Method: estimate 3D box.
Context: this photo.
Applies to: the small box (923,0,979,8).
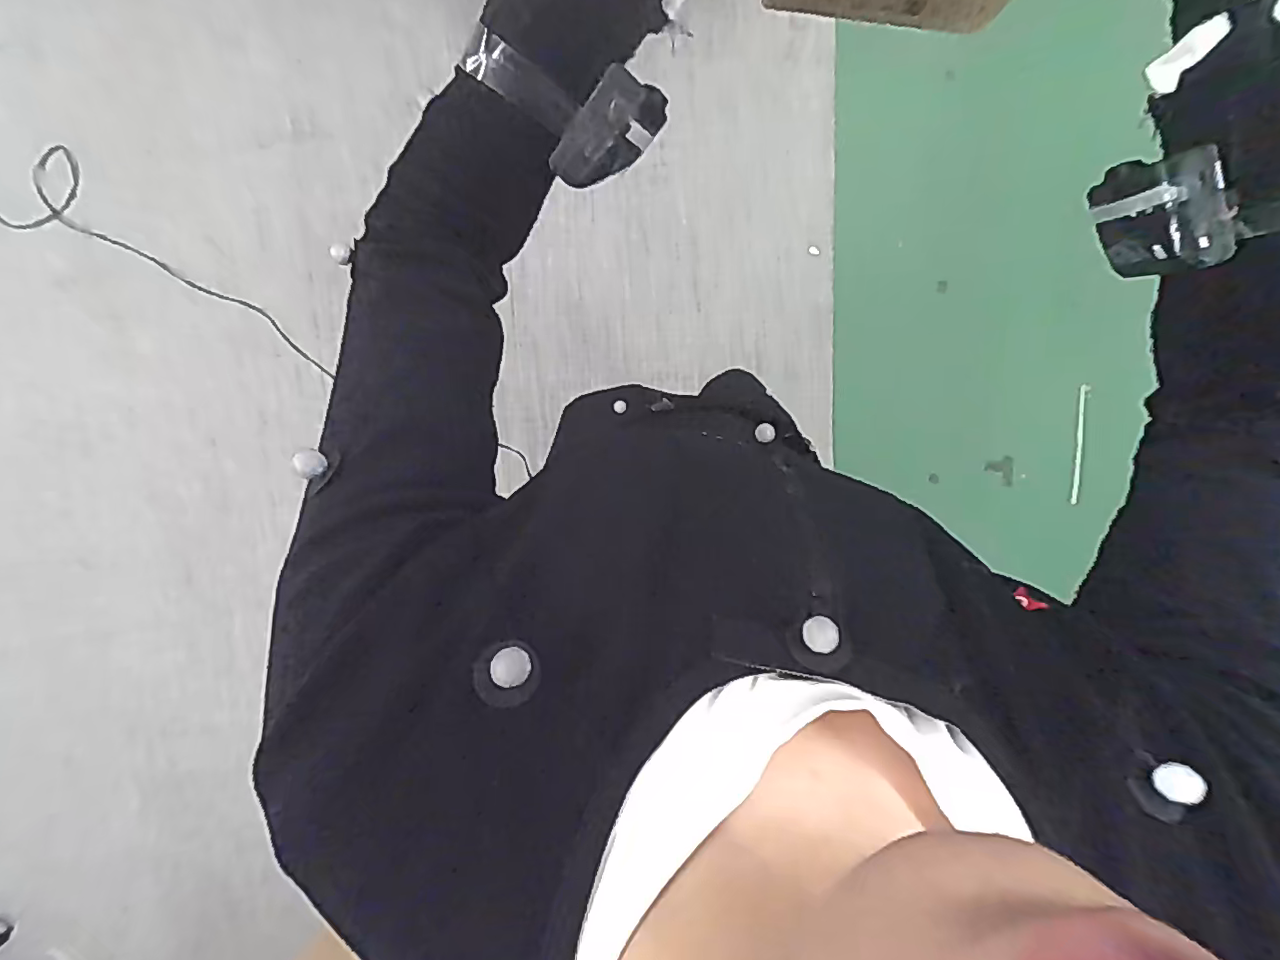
[{"bbox_3d":[0.179,-0.422,0.304,0.168,0.176,0.179,6,98,-1],"label":"small box"}]
